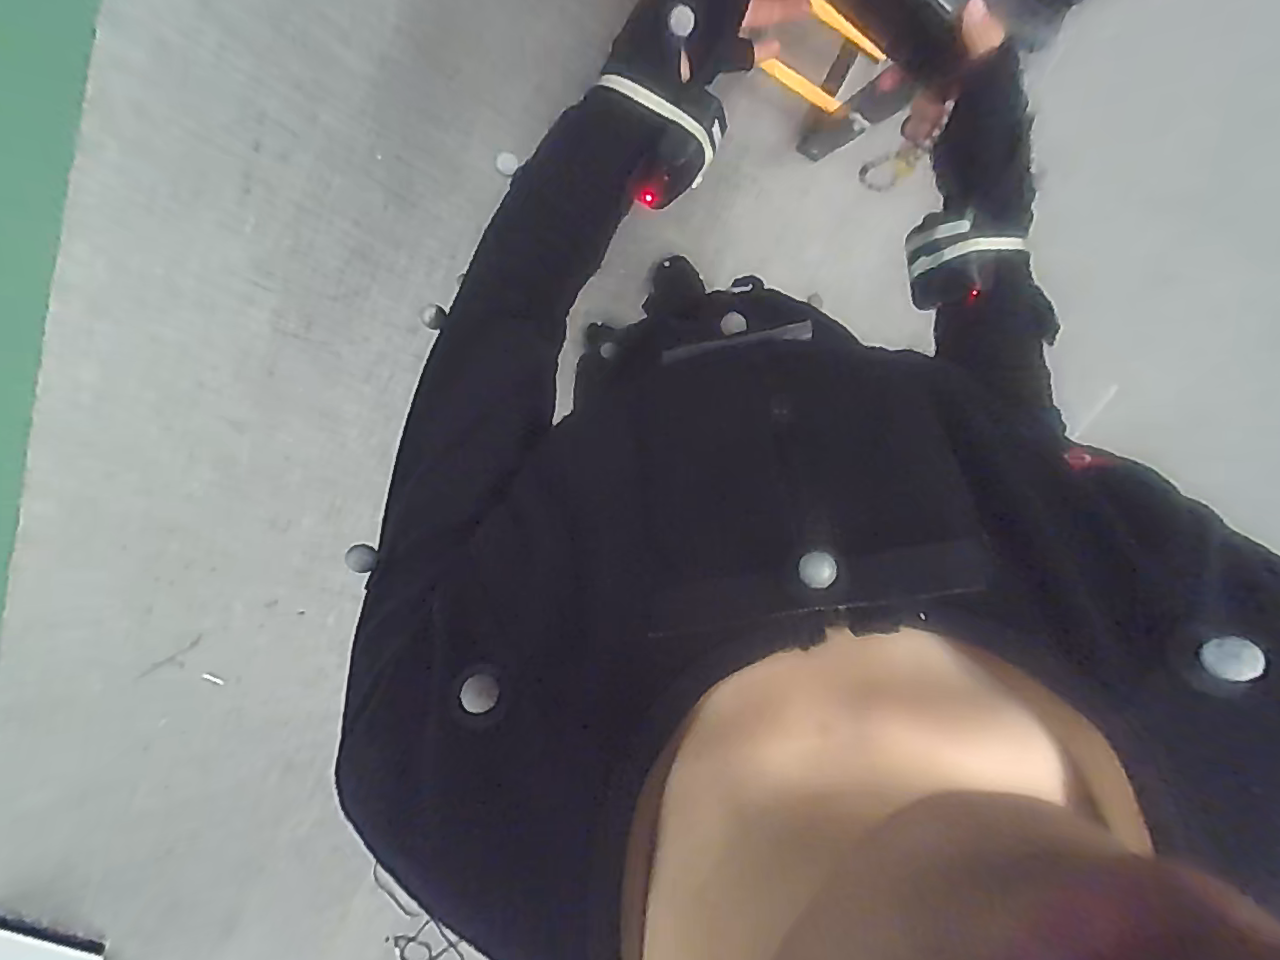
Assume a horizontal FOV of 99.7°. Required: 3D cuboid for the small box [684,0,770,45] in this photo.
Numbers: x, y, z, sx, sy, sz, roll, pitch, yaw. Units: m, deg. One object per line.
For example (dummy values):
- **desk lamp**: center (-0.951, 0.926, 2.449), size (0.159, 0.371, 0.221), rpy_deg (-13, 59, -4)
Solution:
- **small box**: center (0.178, -0.937, 0.966), size (0.168, 0.176, 0.179), rpy_deg (29, 108, -12)
